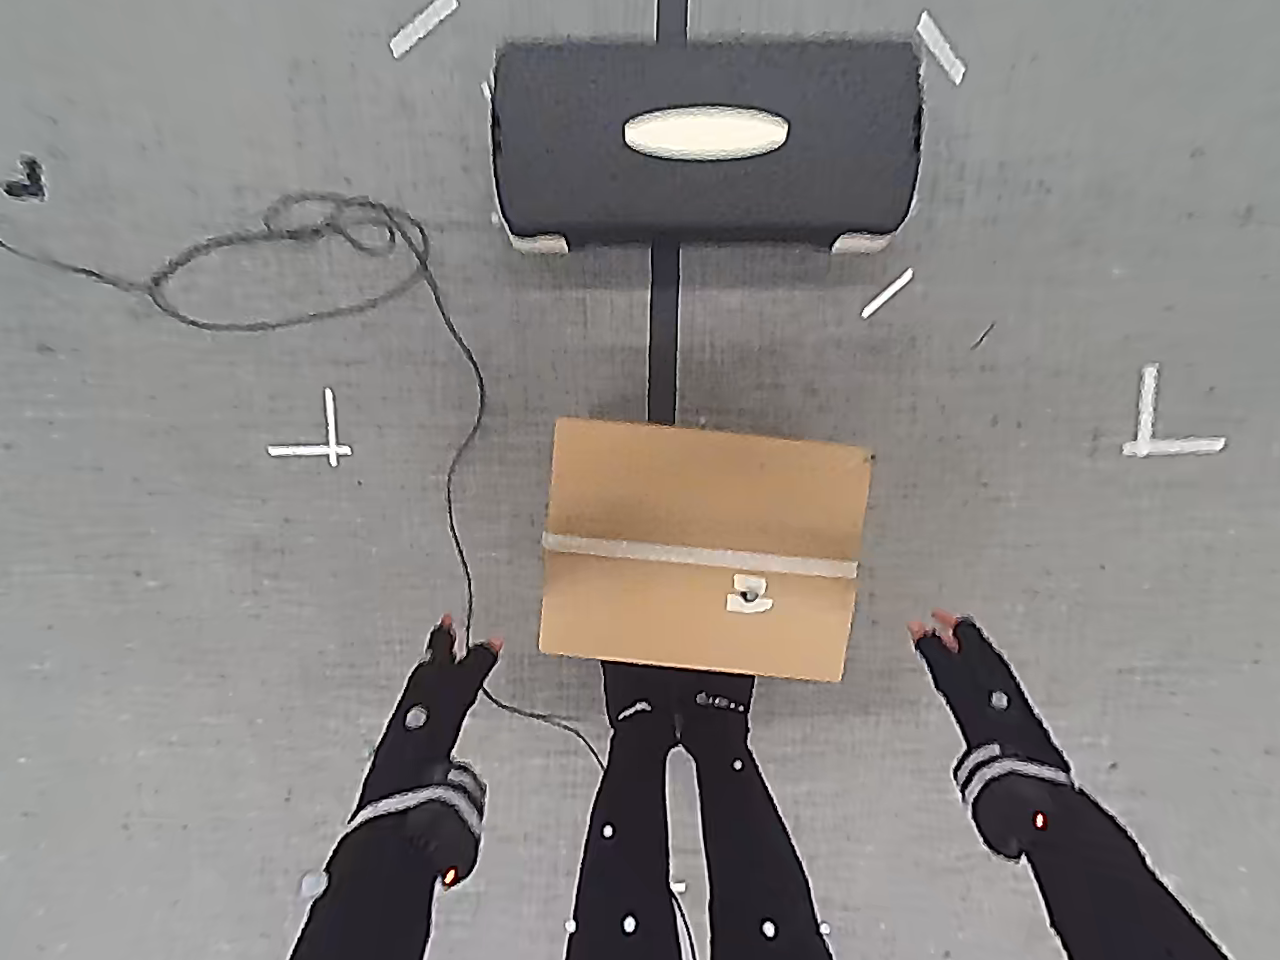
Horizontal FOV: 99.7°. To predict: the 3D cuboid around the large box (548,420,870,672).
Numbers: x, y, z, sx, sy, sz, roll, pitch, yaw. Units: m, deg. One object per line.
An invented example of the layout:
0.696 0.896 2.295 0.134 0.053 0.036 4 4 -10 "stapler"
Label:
0.084 0.075 0.848 0.408 0.320 0.320 5 97 -1 "large box"
